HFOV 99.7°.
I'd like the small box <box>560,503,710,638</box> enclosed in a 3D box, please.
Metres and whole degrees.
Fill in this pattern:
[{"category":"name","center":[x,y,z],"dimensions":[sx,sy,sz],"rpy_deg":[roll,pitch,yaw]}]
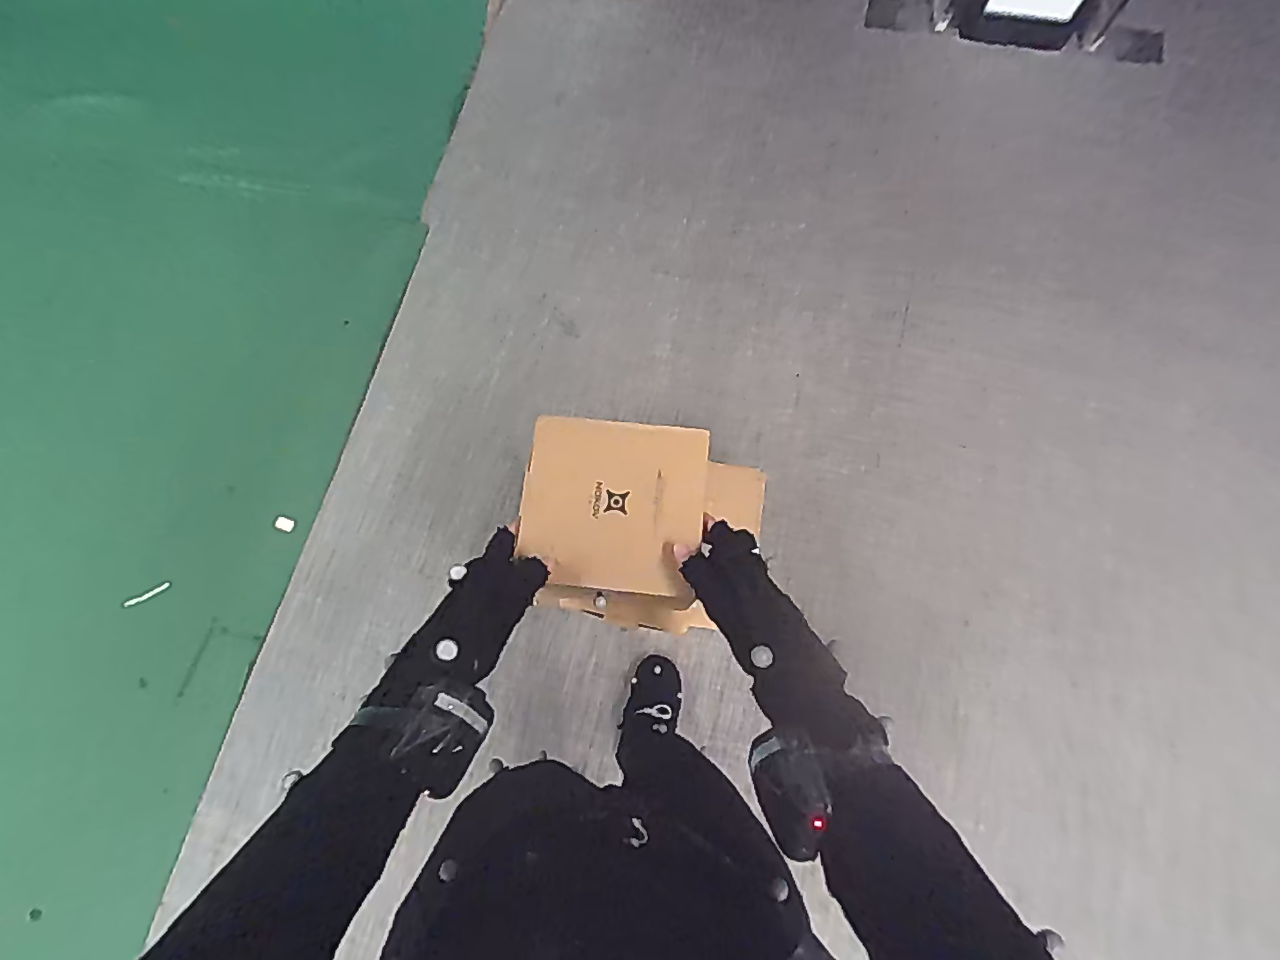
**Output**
[{"category":"small box","center":[0.000,0.113,0.772],"dimensions":[0.168,0.176,0.179],"rpy_deg":[12,79,6]}]

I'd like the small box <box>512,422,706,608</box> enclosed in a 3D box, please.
[{"category":"small box","center":[-0.026,0.048,0.599],"dimensions":[0.179,0.176,0.168],"rpy_deg":[5,73,2]}]
